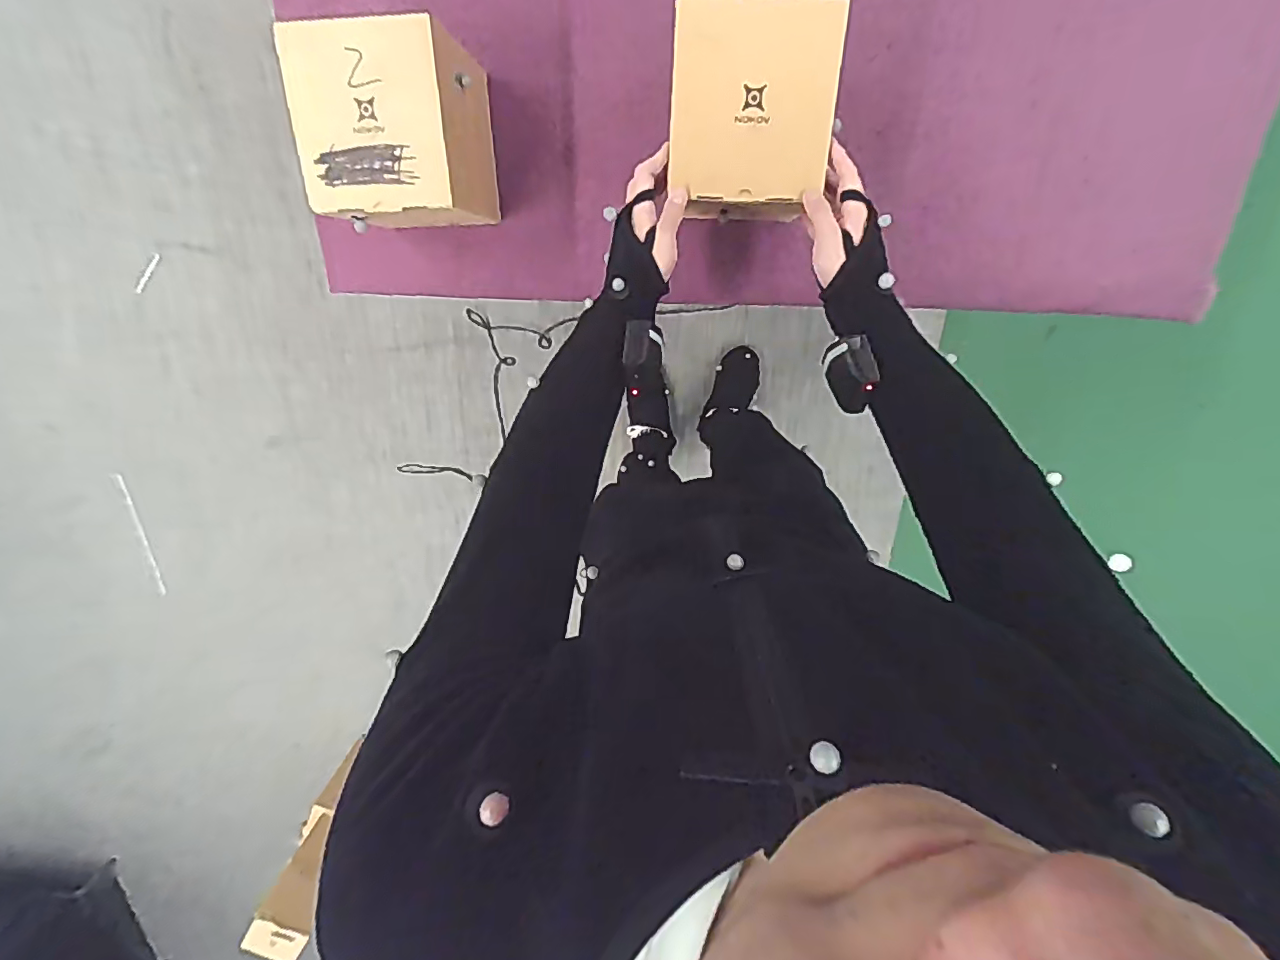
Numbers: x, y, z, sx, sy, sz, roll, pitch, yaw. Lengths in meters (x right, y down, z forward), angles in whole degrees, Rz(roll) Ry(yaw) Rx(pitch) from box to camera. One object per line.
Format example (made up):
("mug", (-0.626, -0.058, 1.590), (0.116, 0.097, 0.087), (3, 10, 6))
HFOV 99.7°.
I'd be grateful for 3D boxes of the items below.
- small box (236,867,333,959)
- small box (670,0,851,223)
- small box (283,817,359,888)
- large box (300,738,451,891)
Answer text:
("small box", (-1.085, 1.343, 1.665), (0.168, 0.176, 0.179), (31, 110, -9))
("small box", (0.121, -0.401, 0.618), (0.168, 0.176, 0.179), (3, 112, 2))
("small box", (-1.083, 1.288, 1.819), (0.168, 0.176, 0.179), (30, 109, -9))
("large box", (-1.005, 1.269, 2.070), (0.408, 0.320, 0.320), (24, 112, -7))
